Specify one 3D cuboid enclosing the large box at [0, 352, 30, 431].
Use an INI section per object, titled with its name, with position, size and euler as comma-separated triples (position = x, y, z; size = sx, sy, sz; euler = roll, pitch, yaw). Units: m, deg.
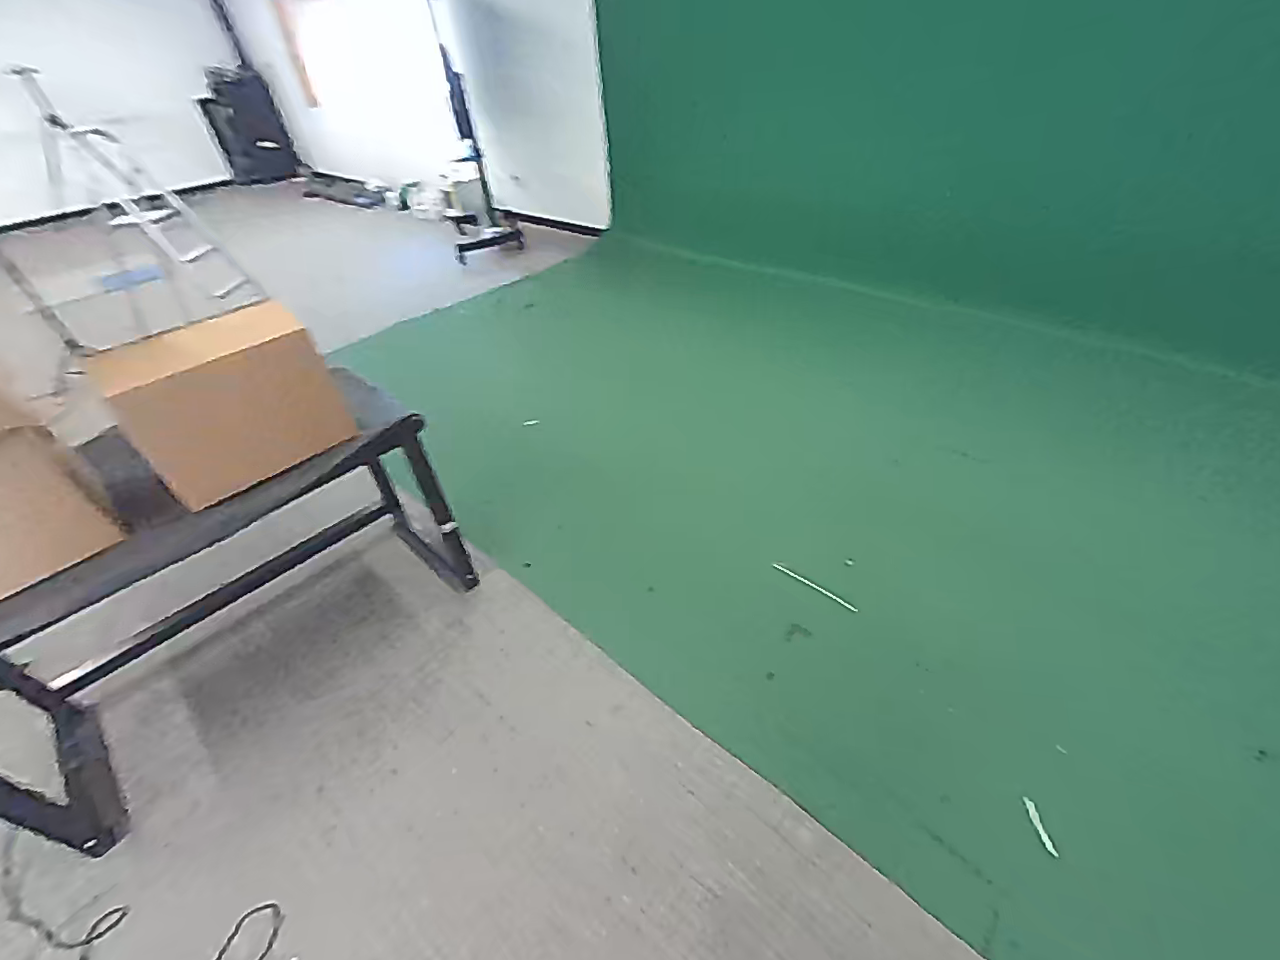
[large box]
position = -1.382, -0.190, 0.888
size = 0.320, 0.320, 0.408
euler = 30, 50, 33
